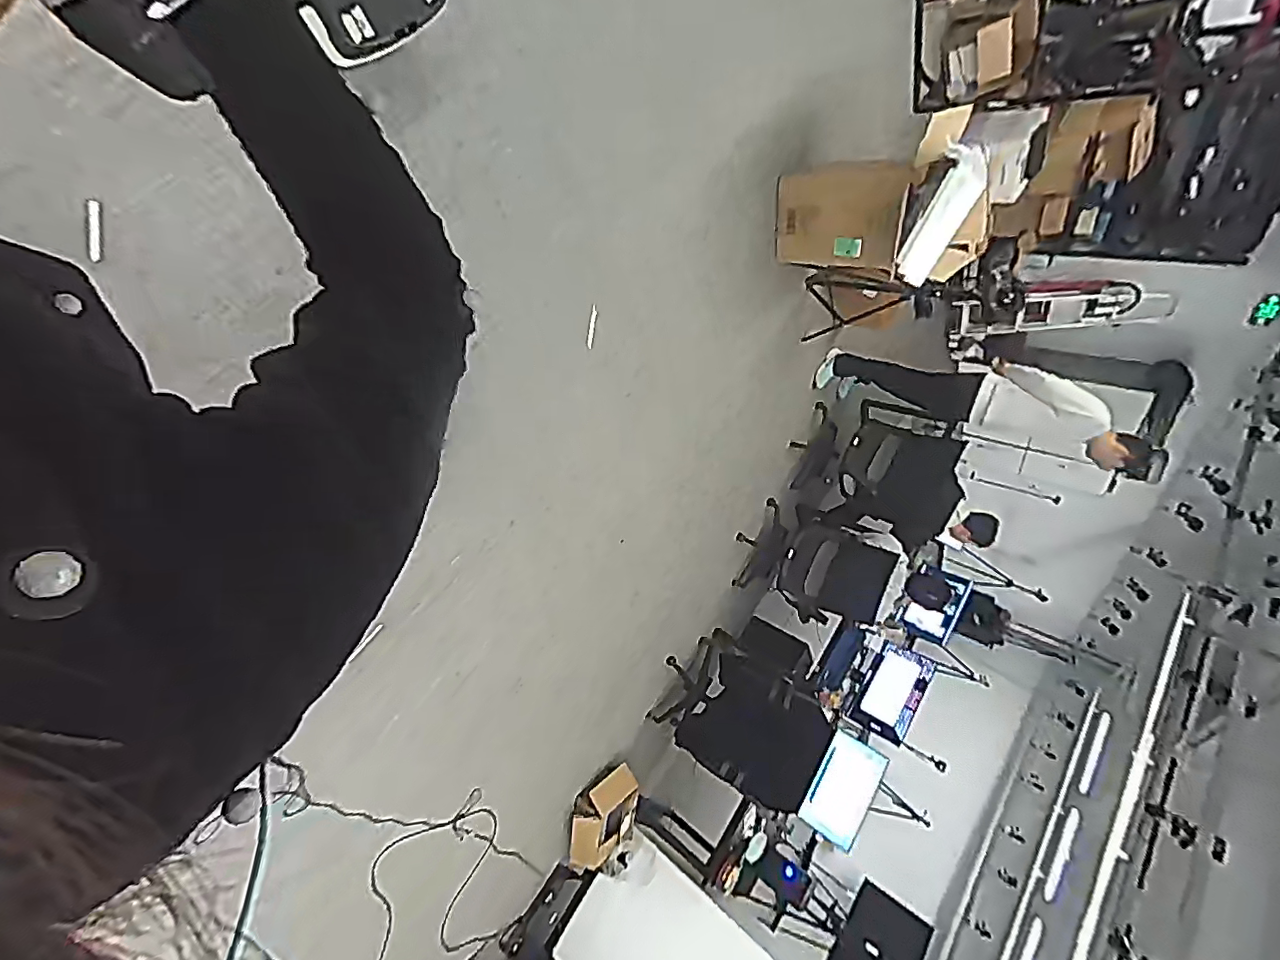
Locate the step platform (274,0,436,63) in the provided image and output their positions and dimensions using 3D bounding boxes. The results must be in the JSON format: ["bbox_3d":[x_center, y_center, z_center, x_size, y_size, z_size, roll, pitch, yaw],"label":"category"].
[{"bbox_3d":[-0.658,-1.168,0.932,0.286,0.204,0.684,-48,138,-24],"label":"step platform"}]
